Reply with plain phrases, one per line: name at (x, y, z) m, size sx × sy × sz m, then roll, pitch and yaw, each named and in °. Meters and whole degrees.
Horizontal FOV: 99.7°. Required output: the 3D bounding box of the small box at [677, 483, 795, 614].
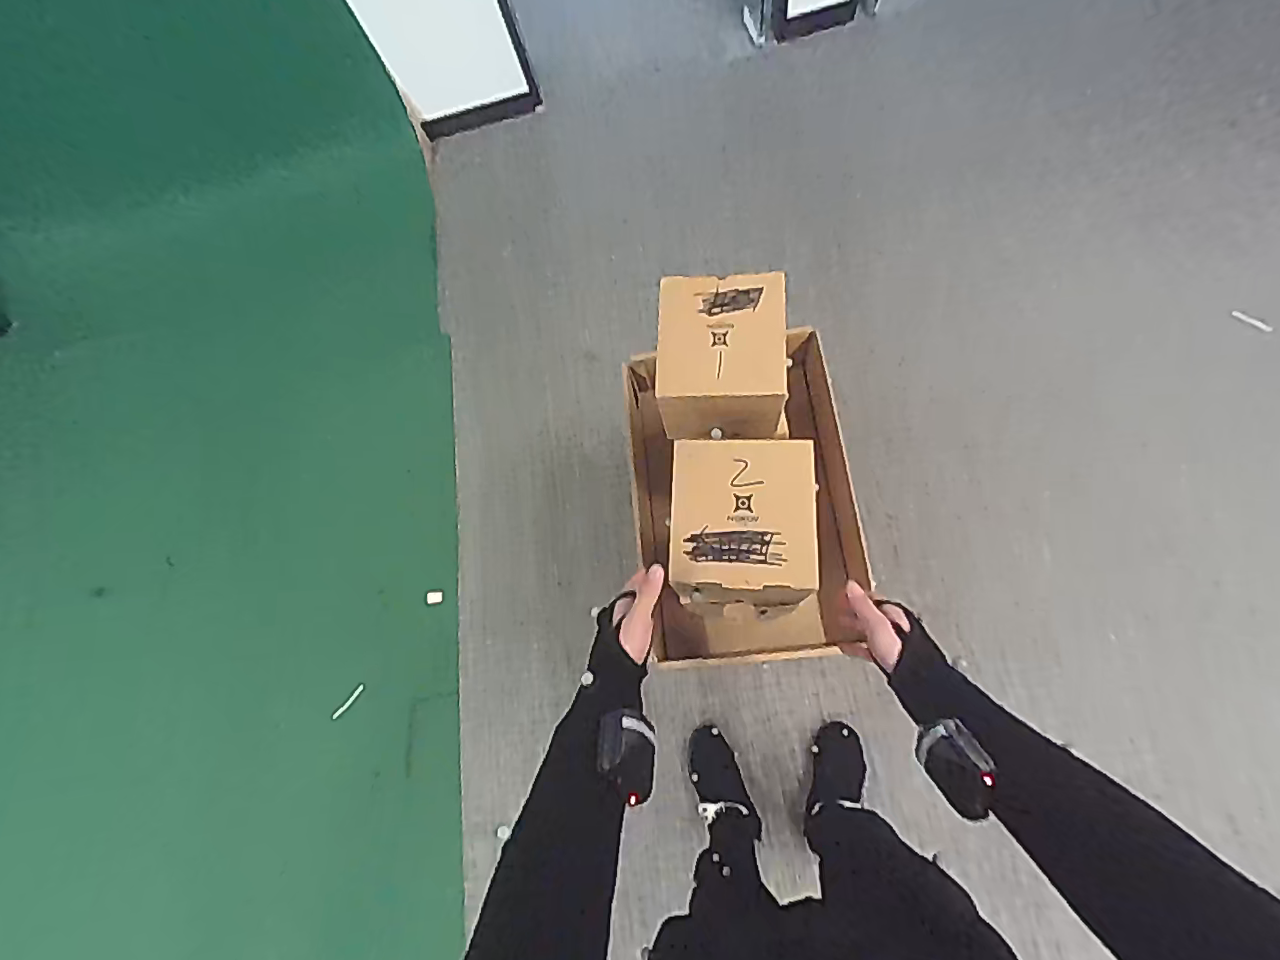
small box at (0.152, 0.113, 0.848) m, size 0.168 × 0.176 × 0.179 m, roll 1°, pitch 72°, yaw 10°

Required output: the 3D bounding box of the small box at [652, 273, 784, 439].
small box at (0.113, -0.169, 0.773) m, size 0.168 × 0.176 × 0.179 m, roll 1°, pitch 76°, yaw 10°

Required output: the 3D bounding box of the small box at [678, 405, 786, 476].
small box at (0.144, -0.121, 0.927) m, size 0.168 × 0.176 × 0.179 m, roll -9°, pitch 75°, yaw 6°
